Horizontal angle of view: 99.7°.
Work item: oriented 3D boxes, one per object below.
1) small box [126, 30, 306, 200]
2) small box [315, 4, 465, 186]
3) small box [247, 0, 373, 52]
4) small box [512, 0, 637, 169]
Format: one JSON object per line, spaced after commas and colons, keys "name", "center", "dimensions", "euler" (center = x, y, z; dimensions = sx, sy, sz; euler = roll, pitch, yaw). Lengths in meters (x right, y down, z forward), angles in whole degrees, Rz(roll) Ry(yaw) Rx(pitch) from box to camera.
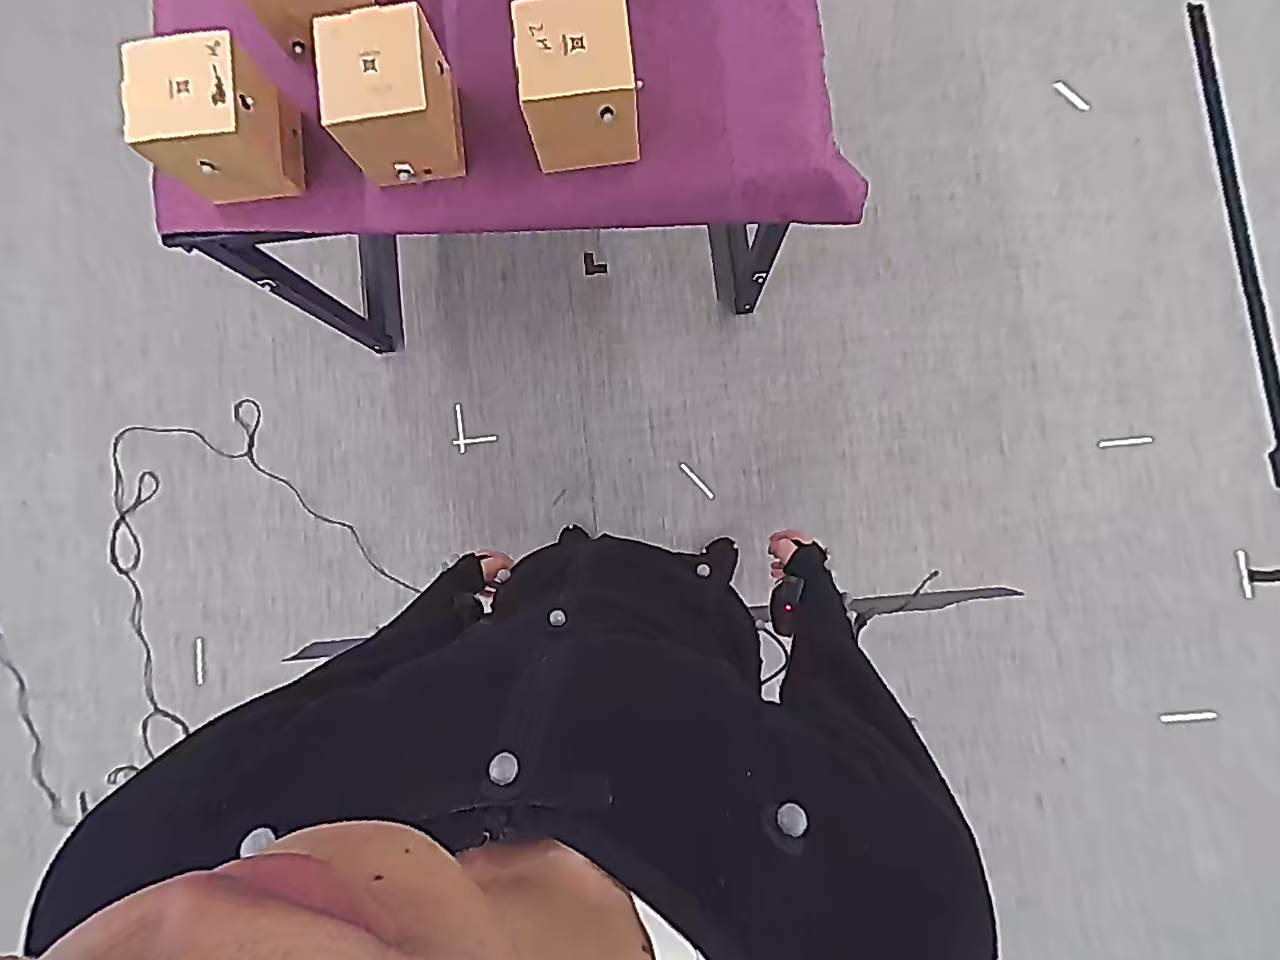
{"name": "small box", "center": [-0.700, -0.597, 0.908], "dimensions": [0.179, 0.176, 0.168], "euler": [-5, 87, 2]}
{"name": "small box", "center": [-0.406, -0.629, 0.901], "dimensions": [0.168, 0.176, 0.179], "euler": [-6, 88, 3]}
{"name": "small box", "center": [-0.574, -0.875, 0.923], "dimensions": [0.168, 0.176, 0.179], "euler": [-6, 86, 2]}
{"name": "small box", "center": [-0.098, -0.644, 0.886], "dimensions": [0.179, 0.176, 0.168], "euler": [-6, 86, 2]}
